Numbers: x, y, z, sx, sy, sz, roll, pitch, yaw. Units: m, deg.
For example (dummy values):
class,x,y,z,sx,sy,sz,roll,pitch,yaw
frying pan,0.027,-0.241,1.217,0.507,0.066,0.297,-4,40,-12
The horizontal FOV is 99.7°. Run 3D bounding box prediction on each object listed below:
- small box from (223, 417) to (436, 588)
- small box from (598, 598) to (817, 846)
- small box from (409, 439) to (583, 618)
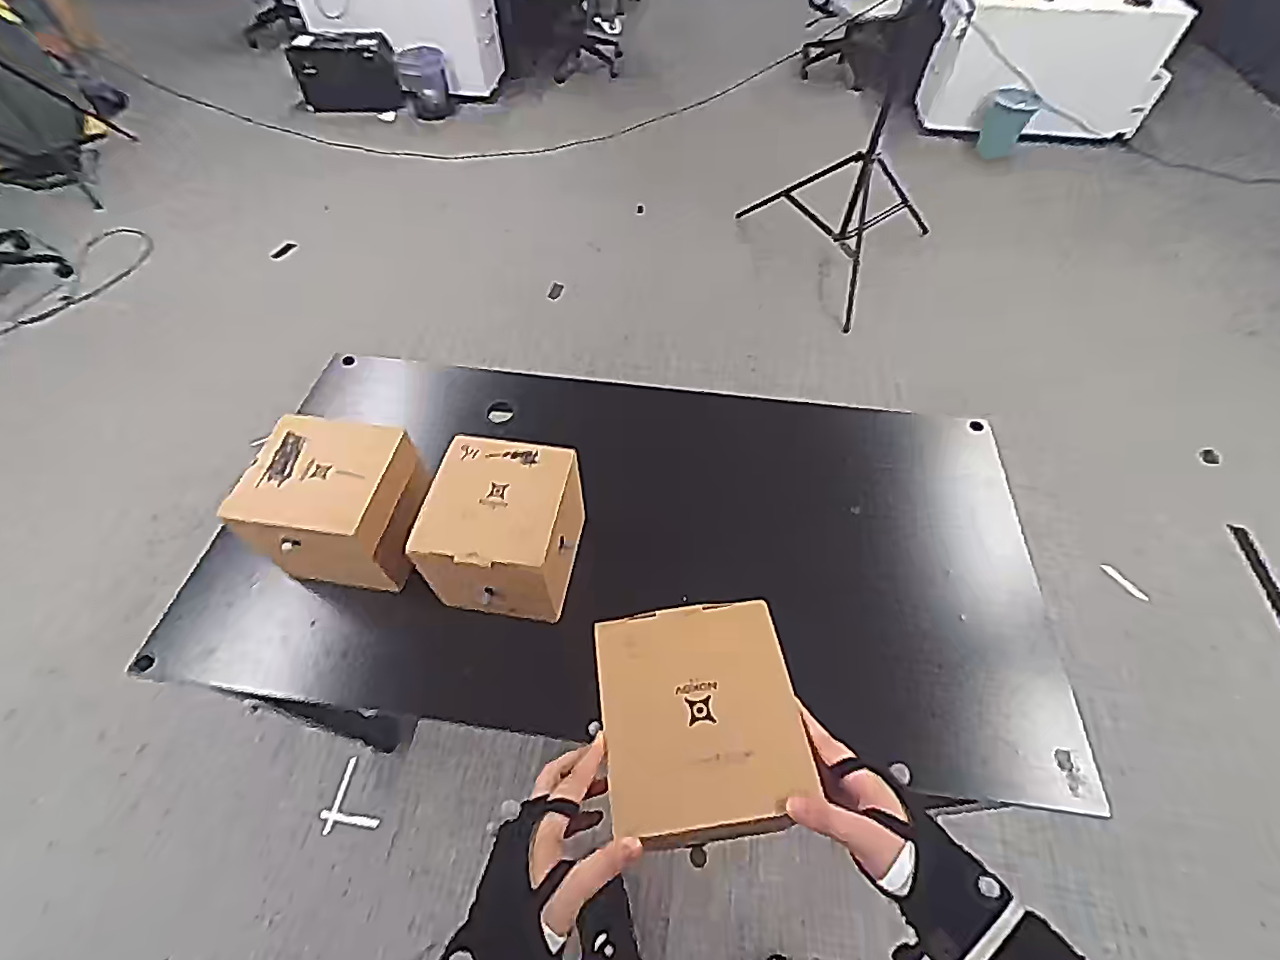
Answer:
class,x,y,z,sx,sy,sz,roll,pitch,yaw
small box,-0.406,0.036,0.750,0.179,0.176,0.168,8,56,3
small box,0.049,0.238,0.527,0.168,0.176,0.179,-6,53,-3
small box,-0.177,0.071,0.732,0.168,0.176,0.179,8,56,4
